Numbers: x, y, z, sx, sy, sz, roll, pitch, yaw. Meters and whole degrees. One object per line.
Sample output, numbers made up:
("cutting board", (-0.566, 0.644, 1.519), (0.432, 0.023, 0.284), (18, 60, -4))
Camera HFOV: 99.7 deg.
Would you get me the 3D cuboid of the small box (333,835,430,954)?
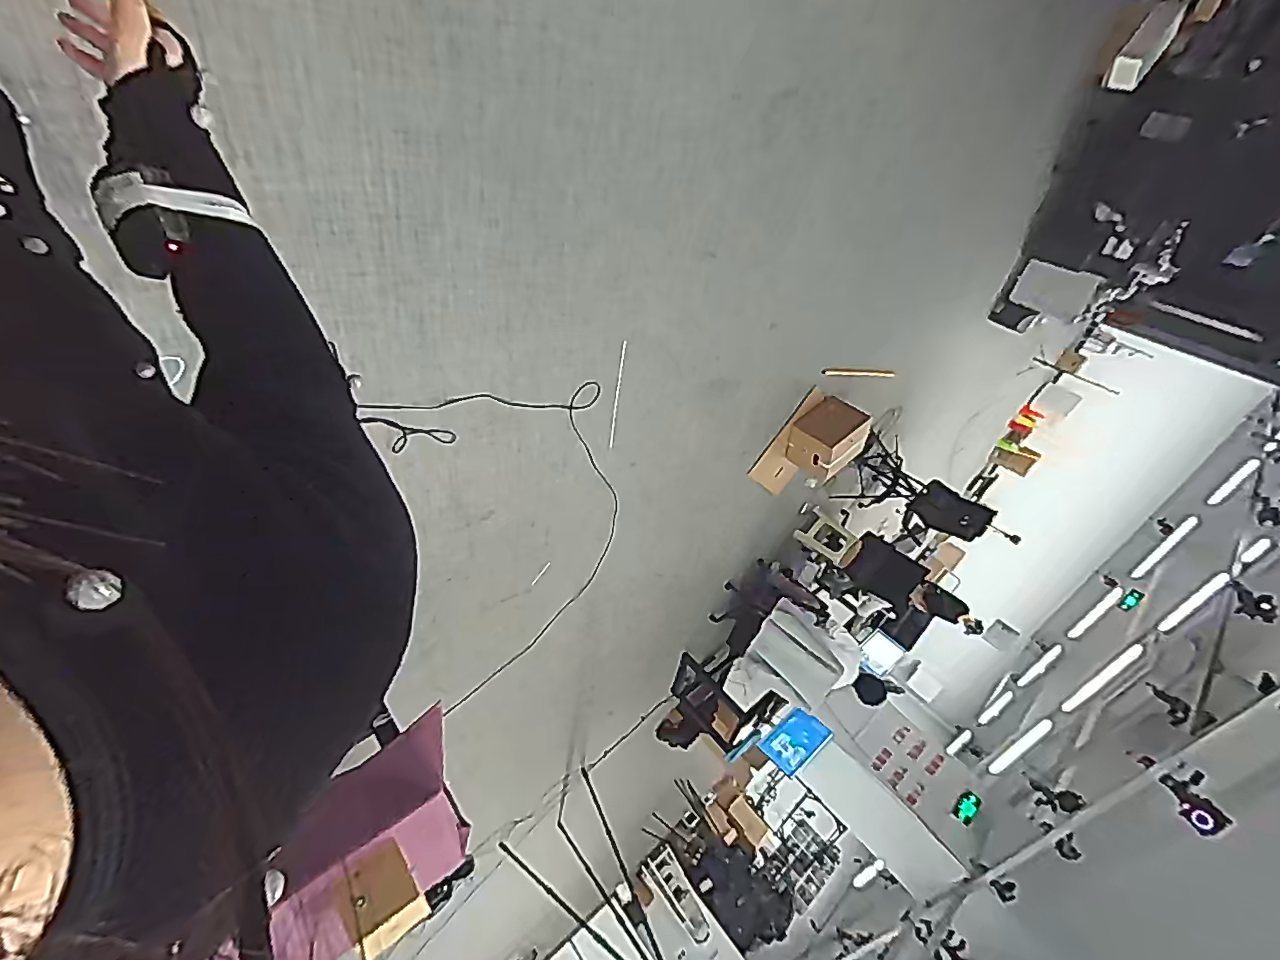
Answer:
("small box", (-0.676, 1.075, 1.414), (0.168, 0.176, 0.179), (-26, 142, -32))
